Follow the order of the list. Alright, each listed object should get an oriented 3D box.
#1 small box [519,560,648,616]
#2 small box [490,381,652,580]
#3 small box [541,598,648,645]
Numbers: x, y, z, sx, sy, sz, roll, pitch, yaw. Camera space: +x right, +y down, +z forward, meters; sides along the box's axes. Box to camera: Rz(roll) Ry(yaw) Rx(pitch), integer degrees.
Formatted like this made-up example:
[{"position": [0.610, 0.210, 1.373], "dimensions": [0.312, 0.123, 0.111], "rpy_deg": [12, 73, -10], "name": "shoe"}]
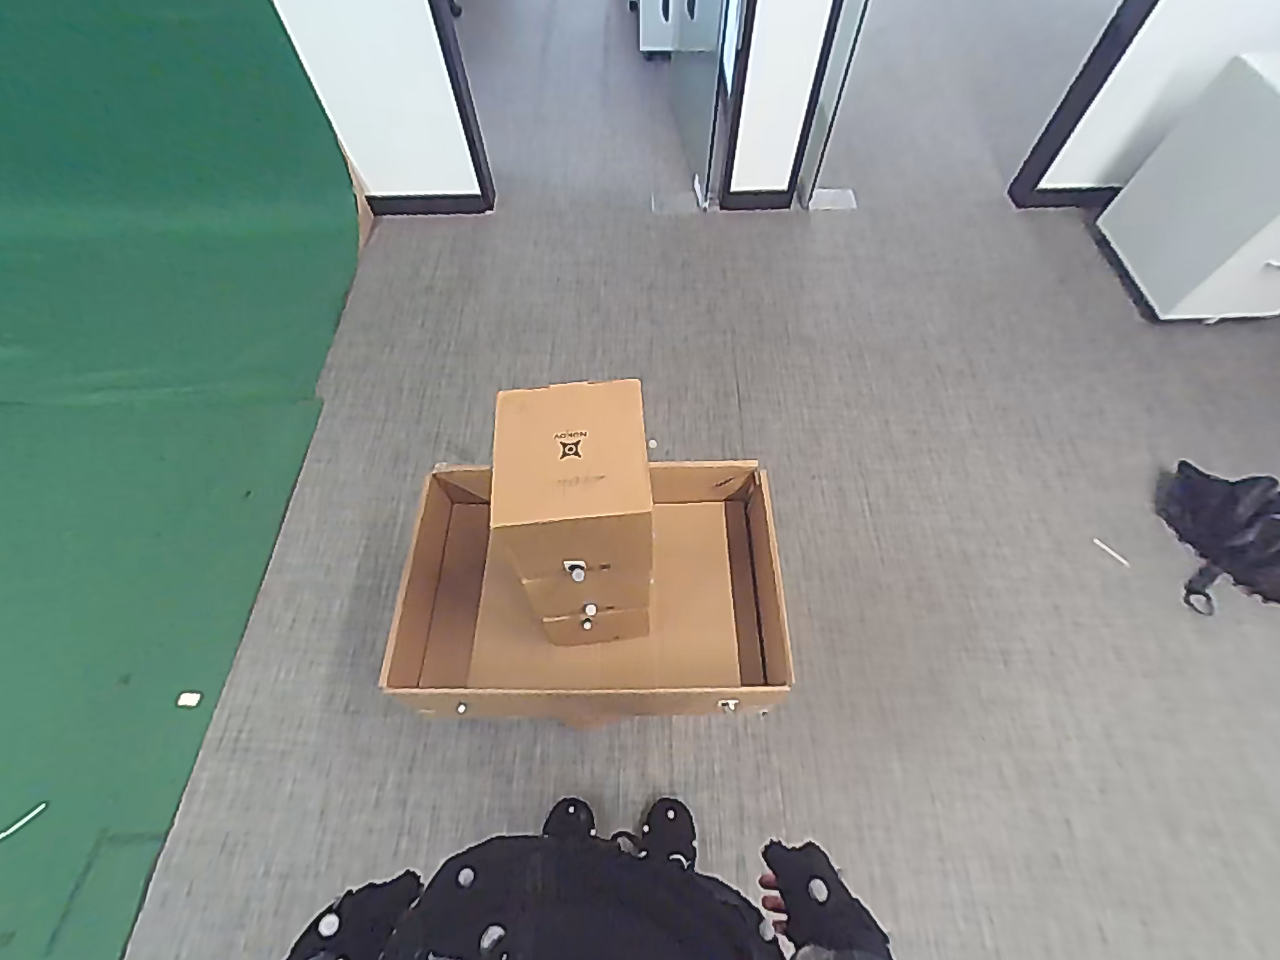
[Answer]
[{"position": [-0.079, 0.086, 0.794], "dimensions": [0.168, 0.176, 0.179], "rpy_deg": [-6, 61, -2], "name": "small box"}, {"position": [-0.075, 0.006, 0.654], "dimensions": [0.168, 0.176, 0.179], "rpy_deg": [-6, 61, -1], "name": "small box"}, {"position": [-0.077, 0.170, 0.935], "dimensions": [0.168, 0.176, 0.179], "rpy_deg": [-7, 59, -2], "name": "small box"}]
